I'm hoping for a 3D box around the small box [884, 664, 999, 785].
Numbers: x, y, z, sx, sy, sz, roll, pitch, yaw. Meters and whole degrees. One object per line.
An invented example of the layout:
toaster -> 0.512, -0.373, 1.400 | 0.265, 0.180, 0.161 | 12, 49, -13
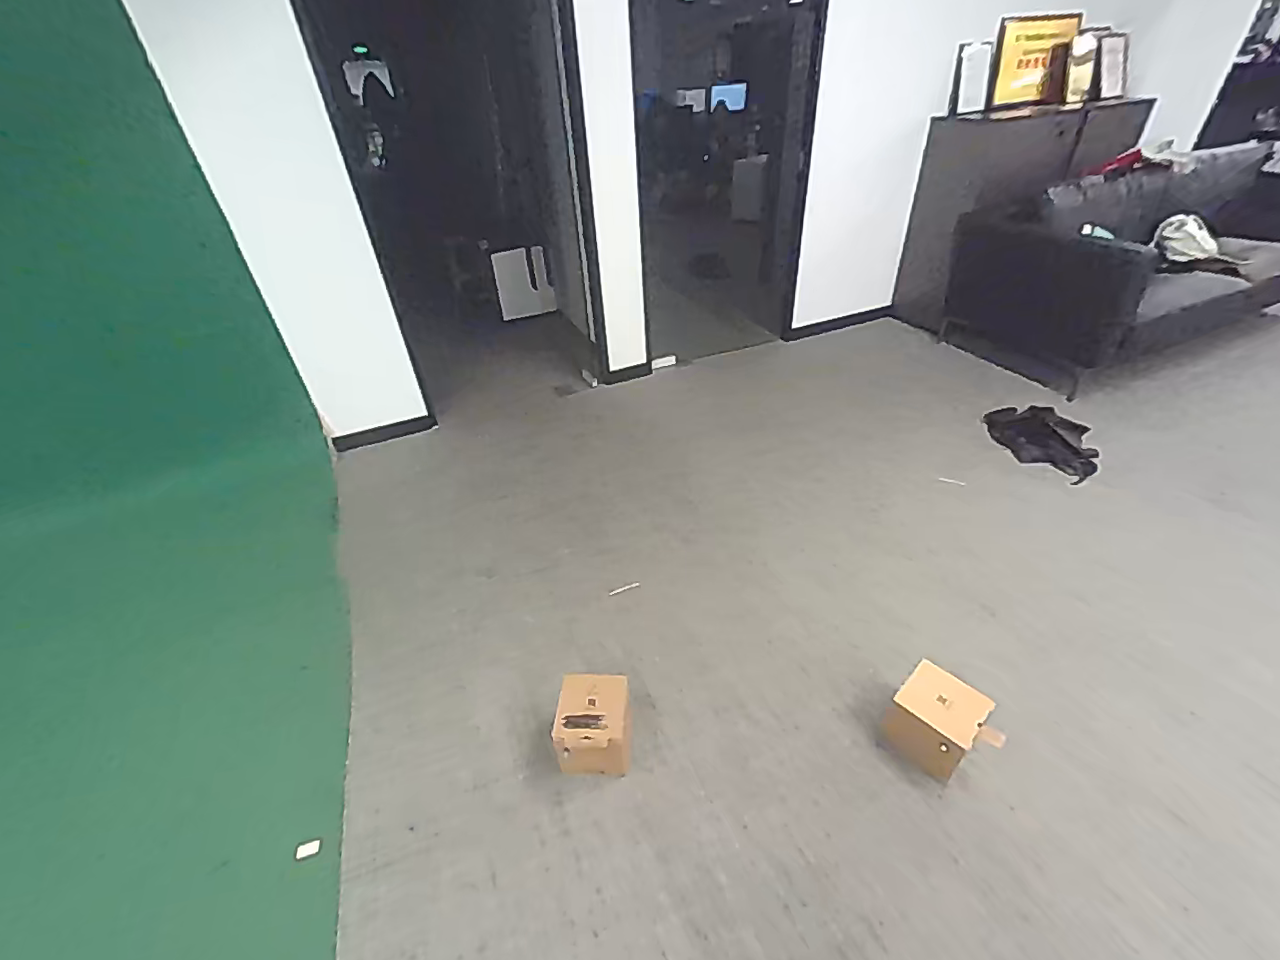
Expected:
small box -> 0.729, 0.600, 1.325 | 0.168, 0.176, 0.179 | -31, 45, -31
